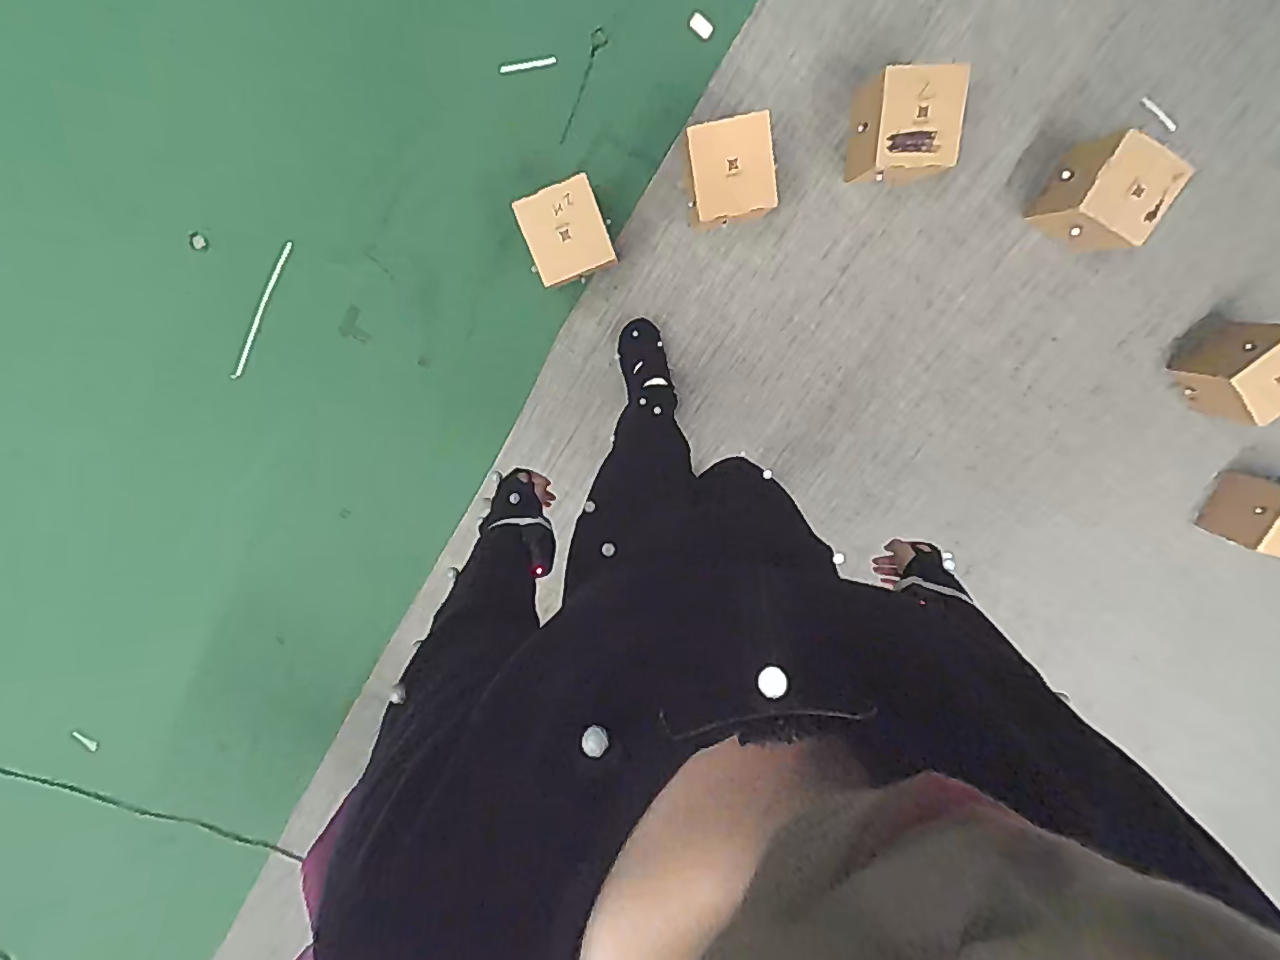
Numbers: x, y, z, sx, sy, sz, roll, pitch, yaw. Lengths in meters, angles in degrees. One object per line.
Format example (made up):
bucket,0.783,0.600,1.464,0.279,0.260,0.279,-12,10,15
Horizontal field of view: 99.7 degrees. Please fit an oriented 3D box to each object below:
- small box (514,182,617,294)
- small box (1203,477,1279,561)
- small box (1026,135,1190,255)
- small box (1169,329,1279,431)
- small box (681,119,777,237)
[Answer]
small box,-0.155,-0.527,1.202,0.168,0.176,0.179,-20,107,5
small box,1.683,0.108,1.439,0.168,0.176,0.179,13,108,-5
small box,1.012,-0.612,1.190,0.179,0.176,0.168,24,107,-8
small box,1.474,-0.251,1.317,0.179,0.176,0.168,-43,103,12
small box,0.187,-0.643,1.171,0.168,0.176,0.179,-11,109,3
